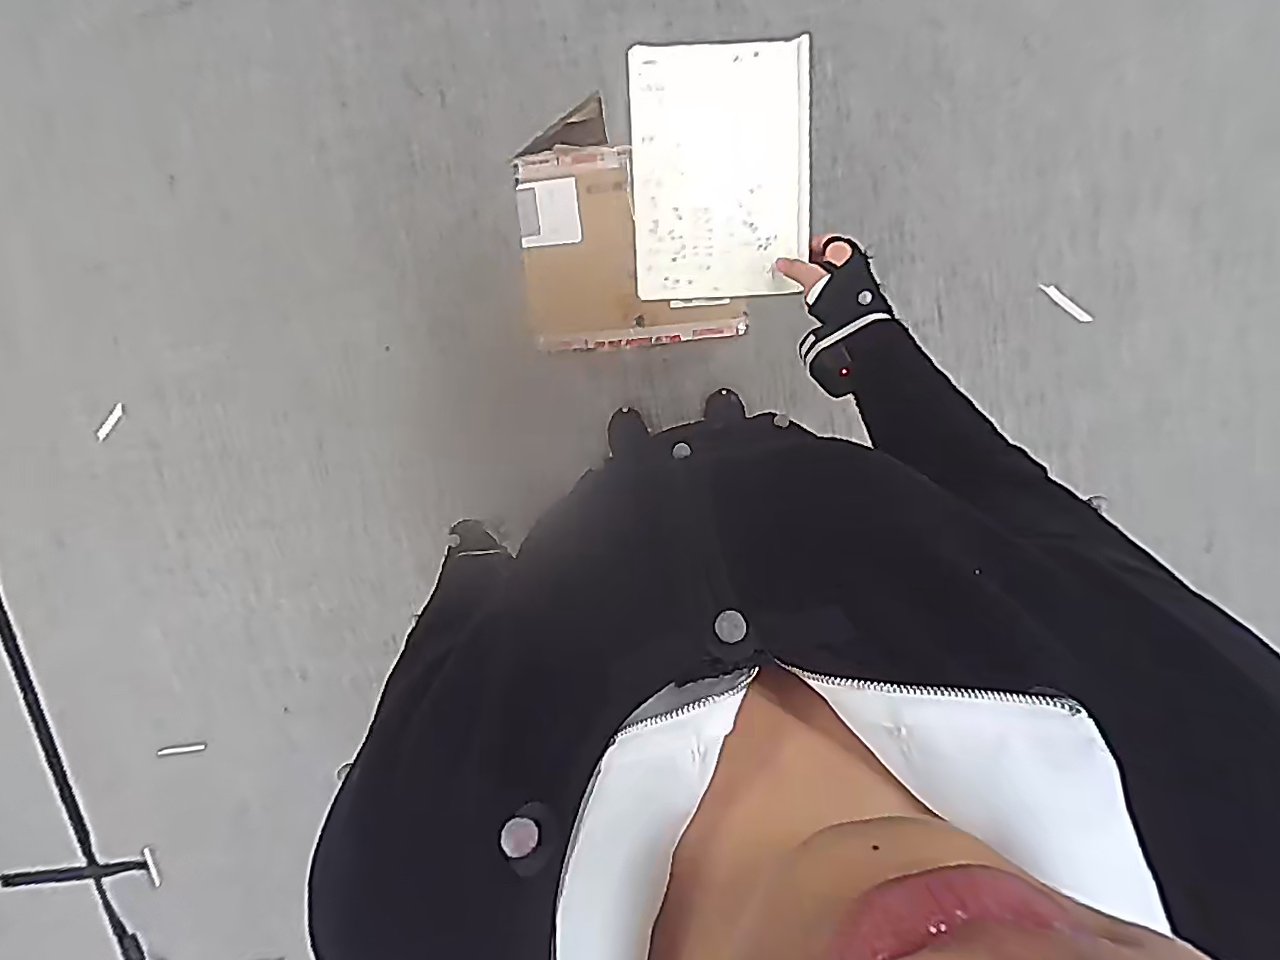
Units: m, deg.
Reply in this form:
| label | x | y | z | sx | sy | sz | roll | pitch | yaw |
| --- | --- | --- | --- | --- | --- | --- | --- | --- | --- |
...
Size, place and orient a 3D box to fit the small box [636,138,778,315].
| label | x | y | z | sx | sy | sz | roll | pitch | yaw |
| --- | --- | --- | --- | --- | --- | --- | --- | --- | --- |
| small box | 0.080 | -0.322 | 0.717 | 0.168 | 0.176 | 0.179 | -3 | 101 | 0 |
